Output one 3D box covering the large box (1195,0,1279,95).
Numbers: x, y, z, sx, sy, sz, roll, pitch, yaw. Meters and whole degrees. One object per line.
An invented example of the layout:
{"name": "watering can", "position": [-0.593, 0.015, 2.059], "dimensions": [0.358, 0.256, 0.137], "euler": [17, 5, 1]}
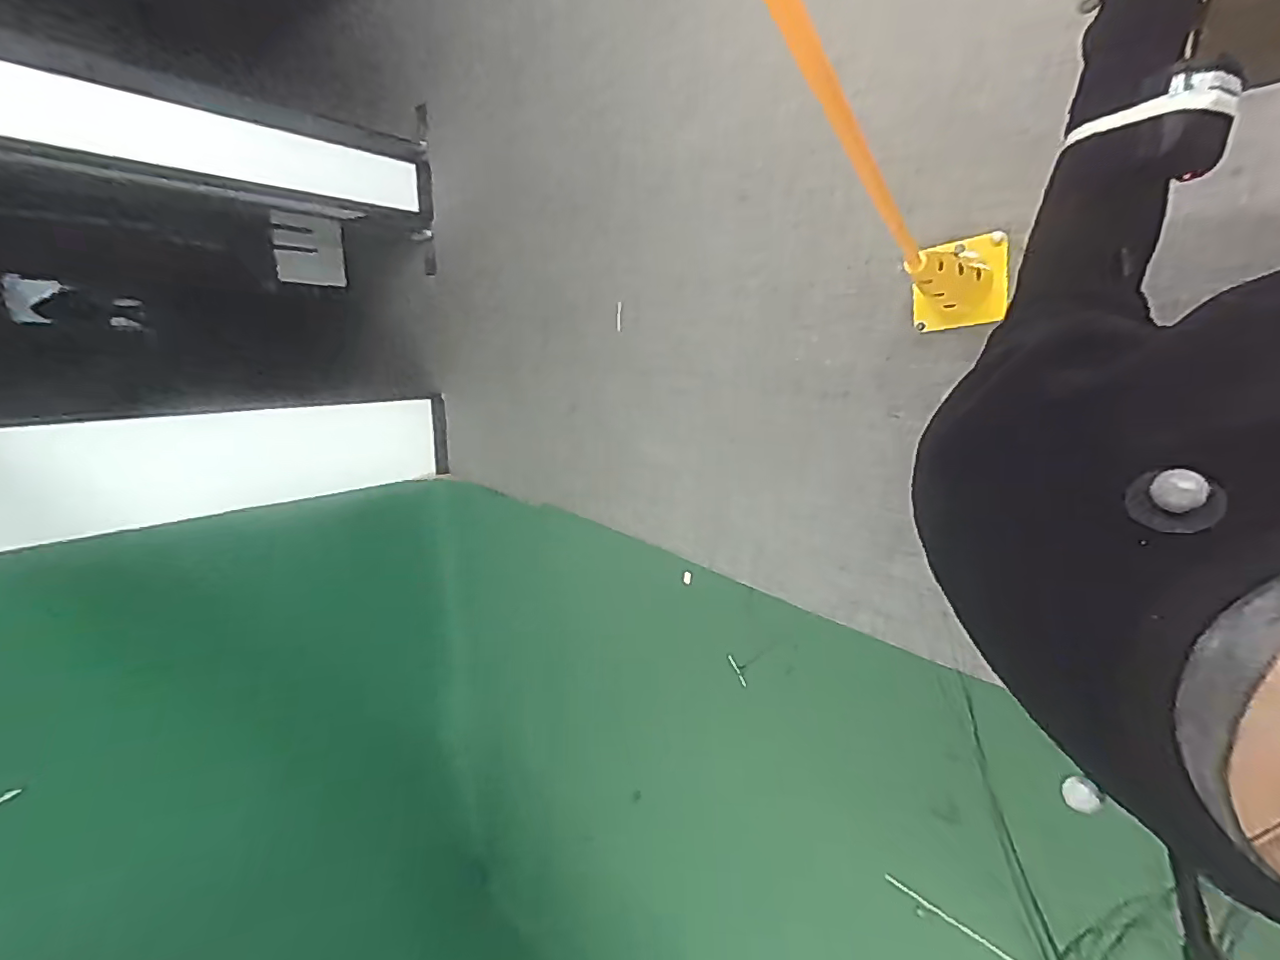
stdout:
{"name": "large box", "position": [0.585, -0.465, 0.267], "dimensions": [0.408, 0.320, 0.320], "euler": [9, 110, 43]}
